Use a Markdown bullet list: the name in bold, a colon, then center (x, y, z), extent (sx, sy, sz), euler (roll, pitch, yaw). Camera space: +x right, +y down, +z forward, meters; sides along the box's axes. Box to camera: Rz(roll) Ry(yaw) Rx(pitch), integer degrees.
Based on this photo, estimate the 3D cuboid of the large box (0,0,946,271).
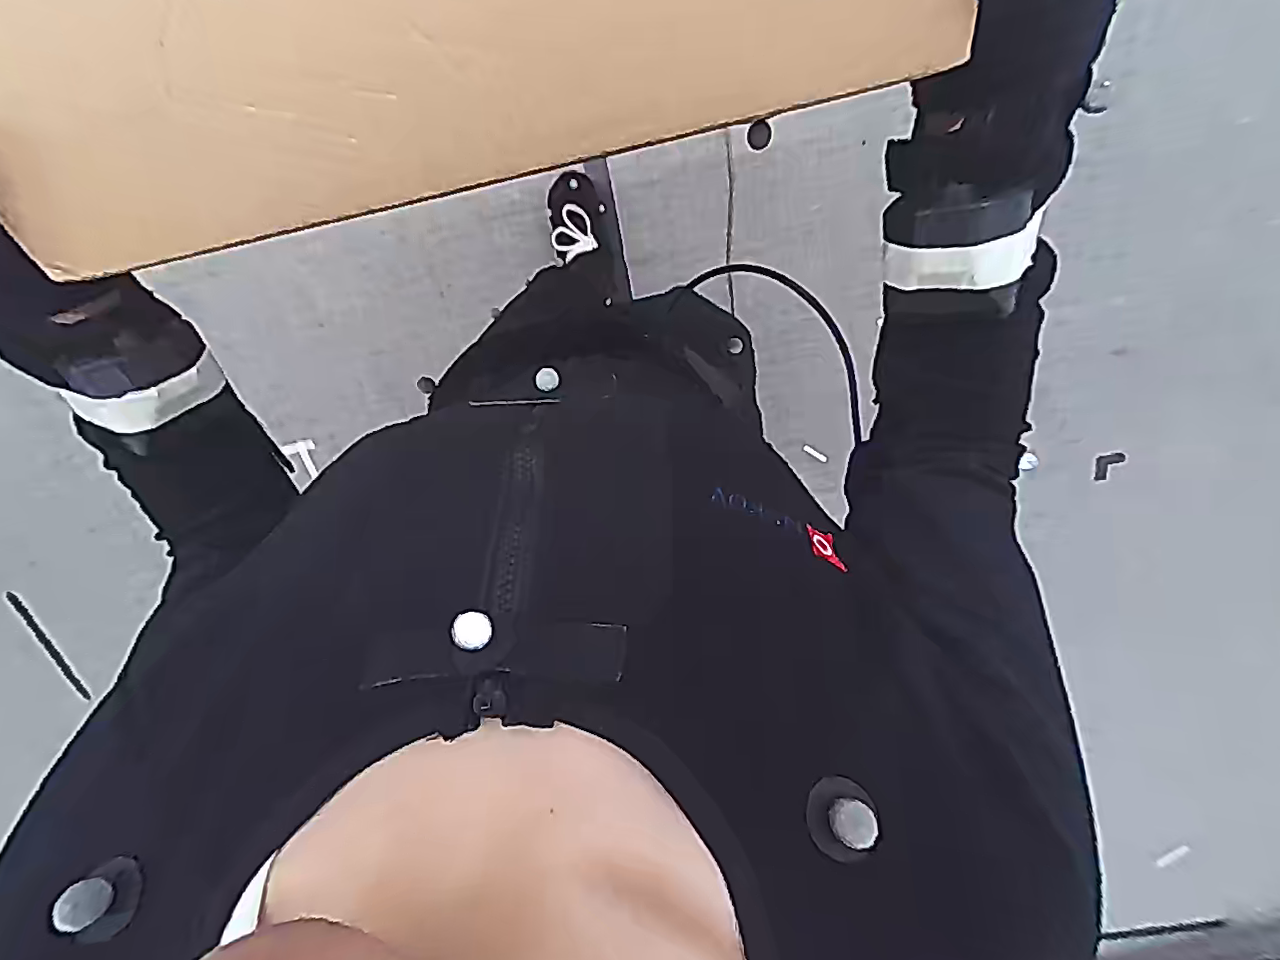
- **large box**: center (-0.106, -0.344, 0.272), extent (0.408, 0.320, 0.320), euler (-10, 124, 6)
